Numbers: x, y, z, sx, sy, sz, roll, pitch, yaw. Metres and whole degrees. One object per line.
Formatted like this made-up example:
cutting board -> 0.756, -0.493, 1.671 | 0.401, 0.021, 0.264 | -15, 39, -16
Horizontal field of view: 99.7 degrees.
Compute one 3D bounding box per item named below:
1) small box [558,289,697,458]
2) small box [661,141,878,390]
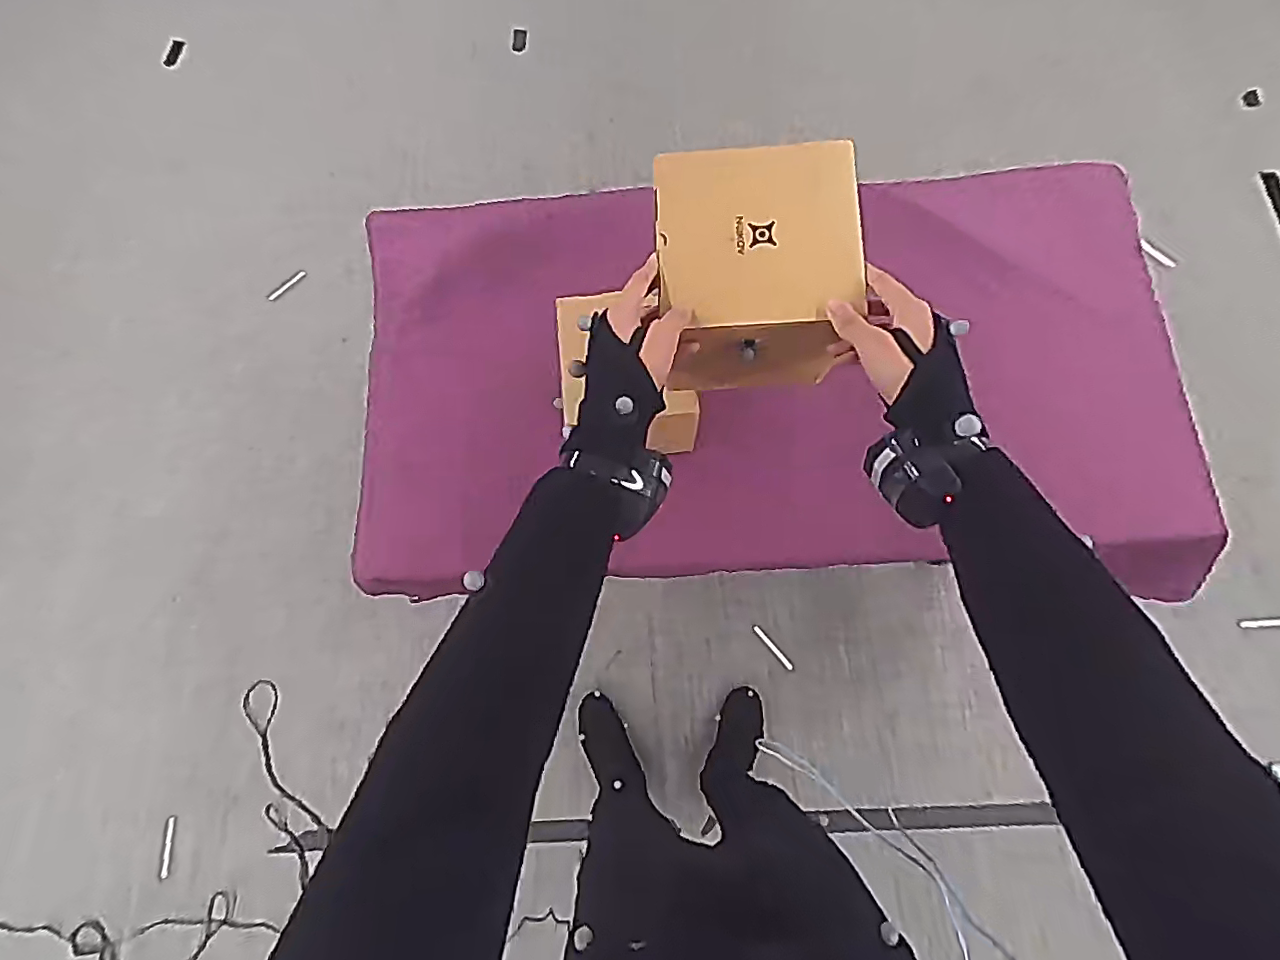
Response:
small box -> -0.013, -0.133, 0.739 | 0.168, 0.176, 0.179 | -5, 76, 1
small box -> 0.113, -0.193, 0.533 | 0.179, 0.176, 0.168 | -2, 82, 6
